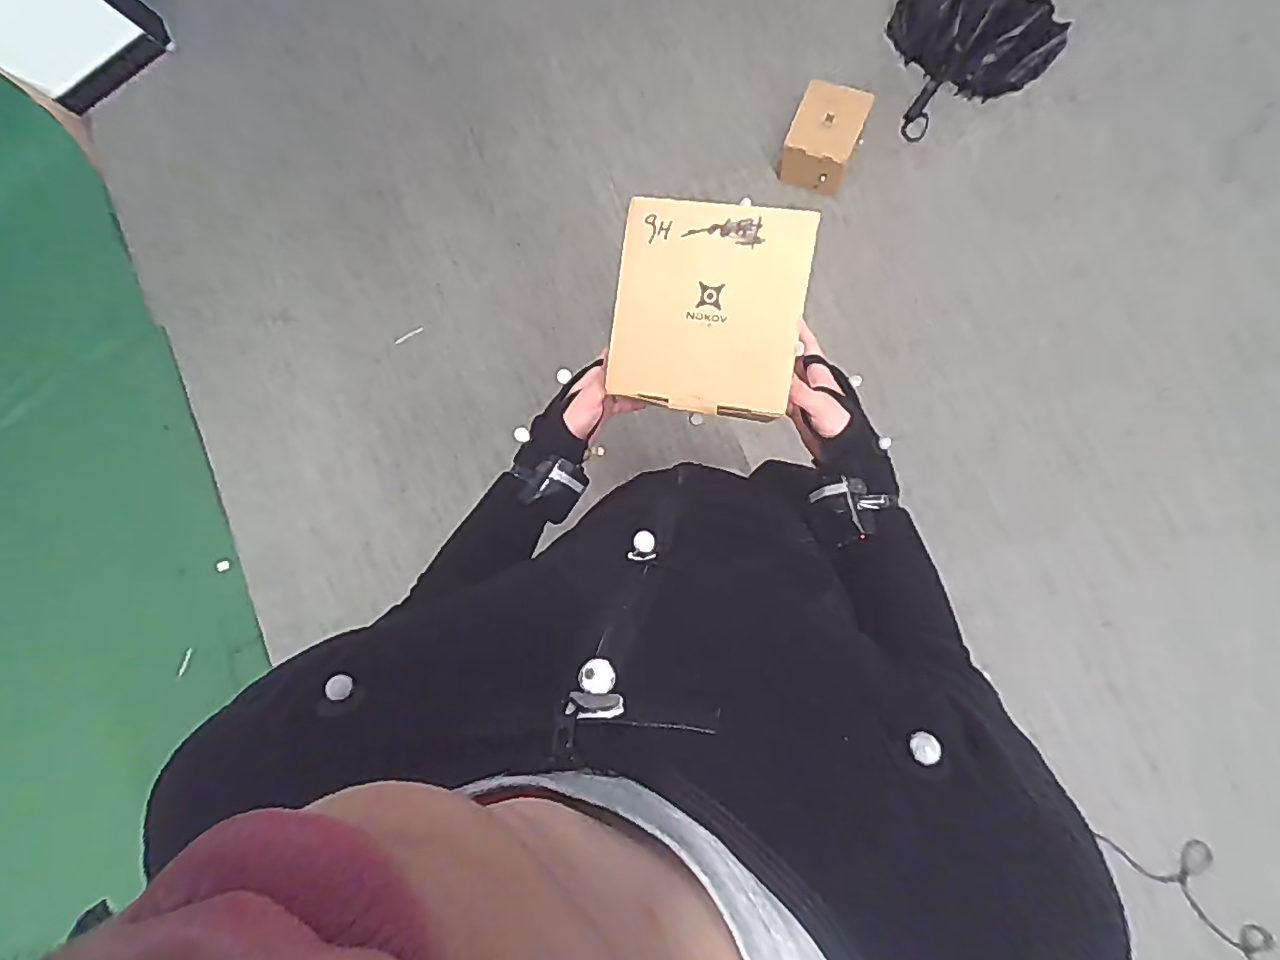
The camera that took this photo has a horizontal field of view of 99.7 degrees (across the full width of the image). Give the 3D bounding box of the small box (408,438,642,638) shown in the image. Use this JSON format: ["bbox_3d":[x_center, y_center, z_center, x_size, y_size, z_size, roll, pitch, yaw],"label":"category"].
[{"bbox_3d":[-0.122,0.062,0.637,0.176,0.179,0.168,-19,100,31],"label":"small box"}]
